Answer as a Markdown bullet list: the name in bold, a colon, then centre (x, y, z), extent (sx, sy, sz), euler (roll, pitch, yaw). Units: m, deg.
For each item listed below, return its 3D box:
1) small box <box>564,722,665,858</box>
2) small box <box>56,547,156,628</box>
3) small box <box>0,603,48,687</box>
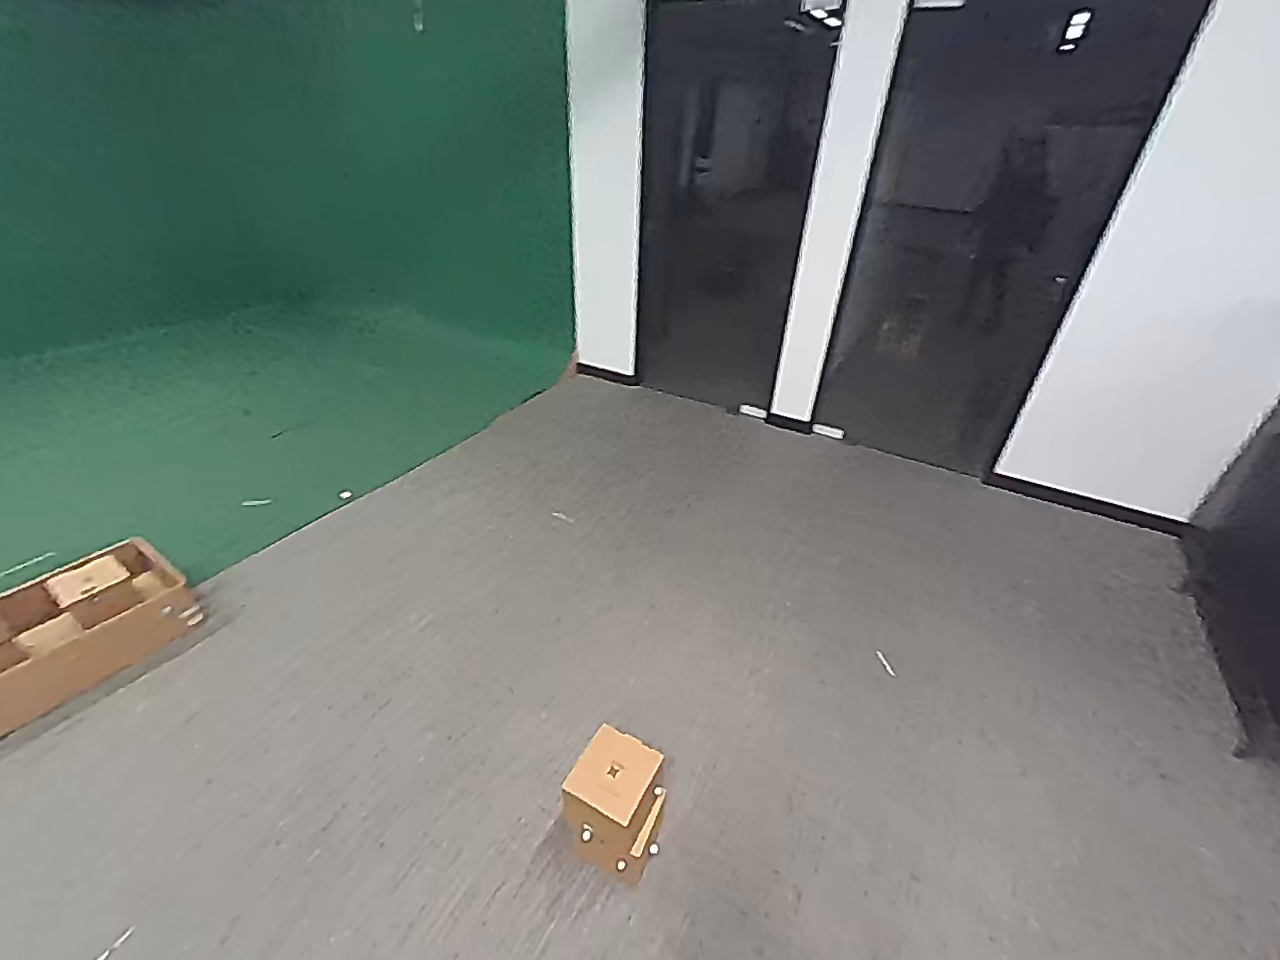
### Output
- **small box**: centre (-0.057, 0.707, 1.238), extent (0.168, 0.176, 0.179), euler (18, 37, 23)
- **small box**: centre (-1.775, 0.360, 1.801), extent (0.179, 0.176, 0.168), euler (25, 40, 28)
- **small box**: centre (-1.913, 0.495, 1.581), extent (0.179, 0.176, 0.168), euler (21, 37, 23)
